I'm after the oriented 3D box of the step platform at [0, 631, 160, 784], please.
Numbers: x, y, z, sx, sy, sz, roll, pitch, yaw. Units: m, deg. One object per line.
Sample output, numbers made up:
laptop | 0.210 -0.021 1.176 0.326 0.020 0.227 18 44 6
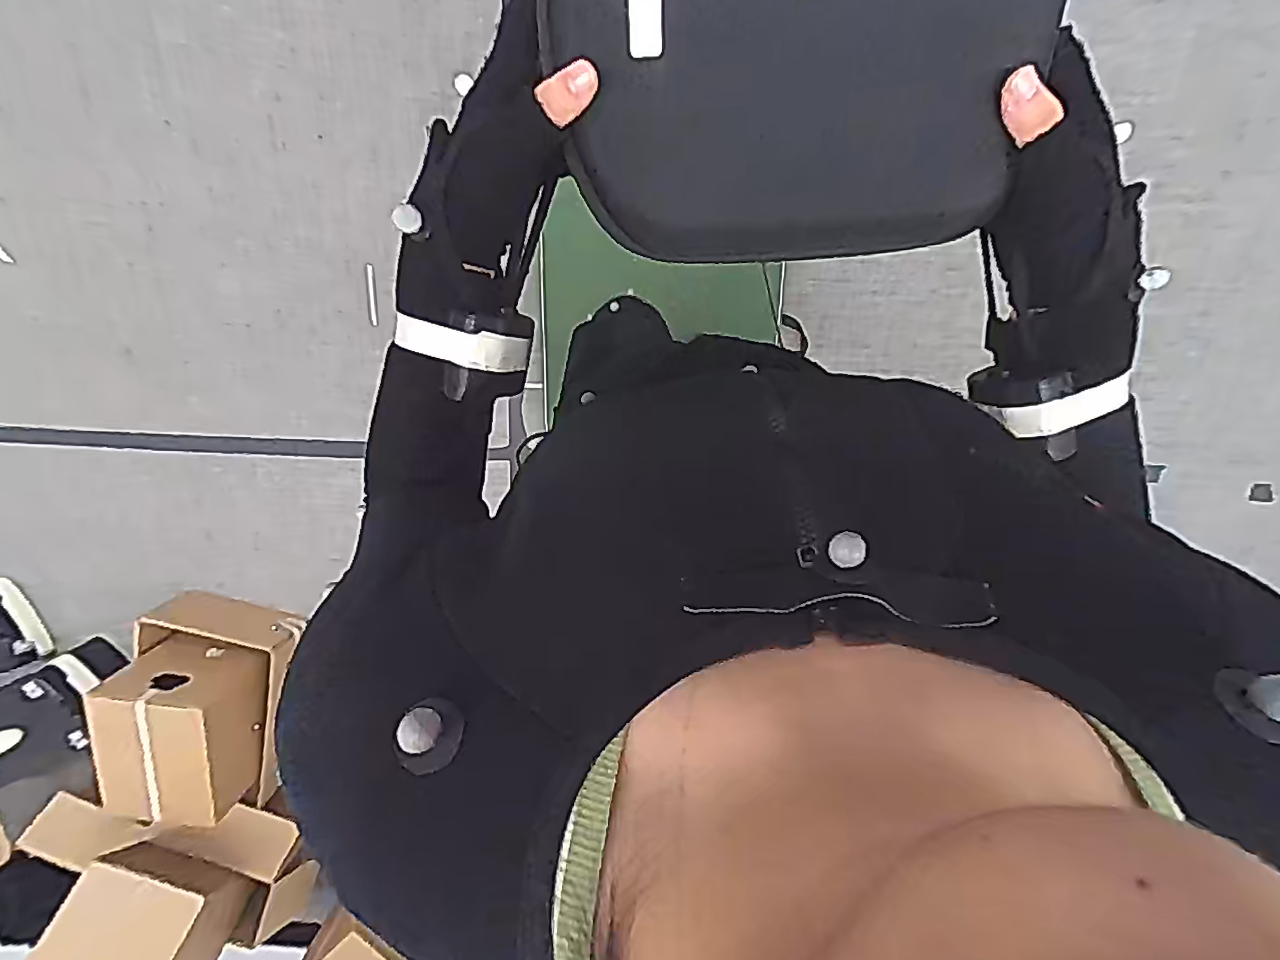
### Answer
step platform | -1.958 0.760 1.751 0.684 0.204 0.286 -26 104 9
